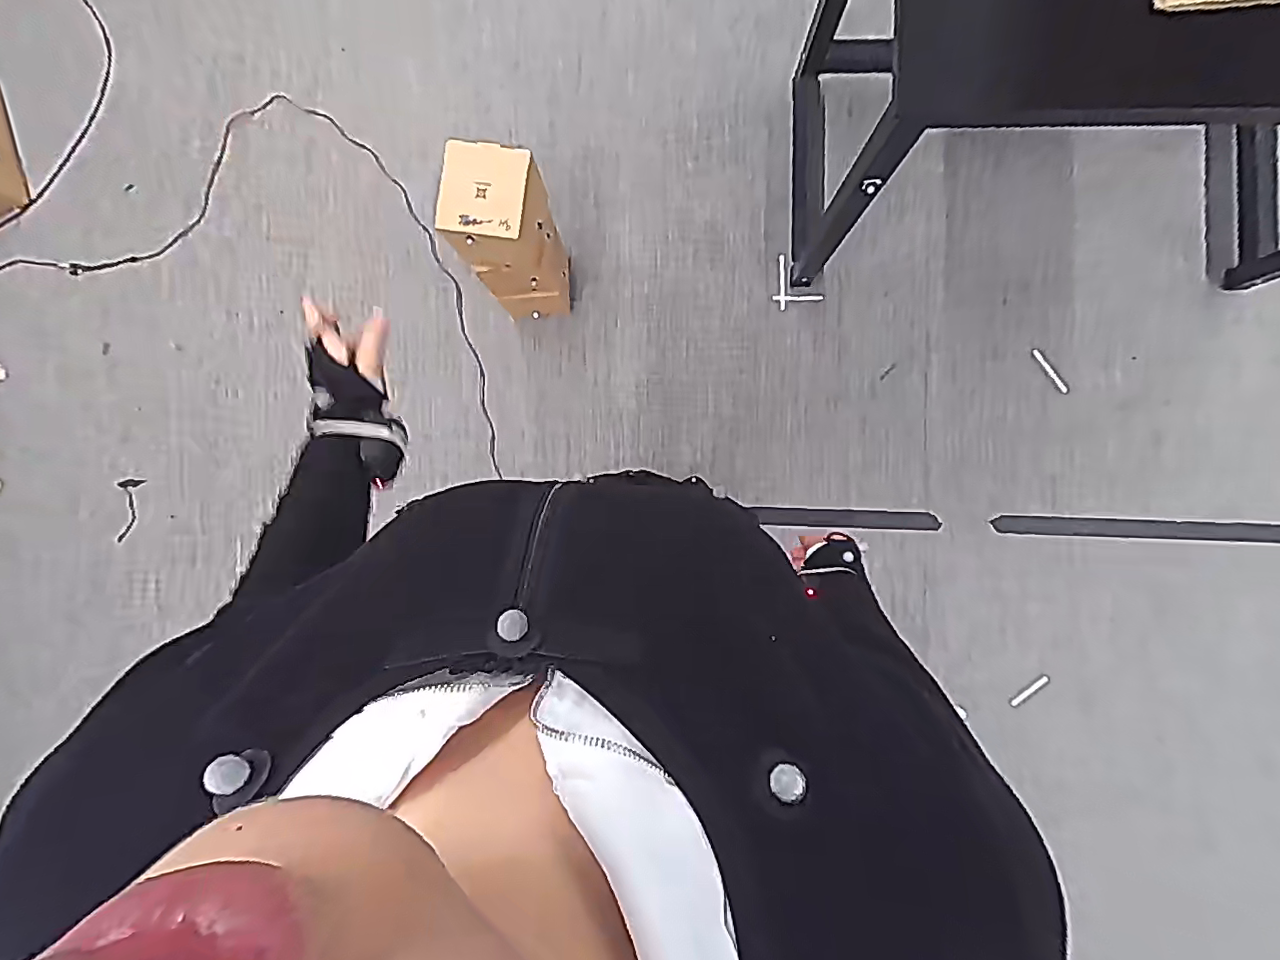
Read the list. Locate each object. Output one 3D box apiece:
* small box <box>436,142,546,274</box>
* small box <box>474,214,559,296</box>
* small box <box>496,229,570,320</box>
[{"bbox_3d":[-0.297,-0.553,1.117,0.168,0.176,0.179,8,89,2],"label":"small box"},{"bbox_3d":[-0.293,-0.551,1.281,0.168,0.176,0.179,-6,88,1],"label":"small box"},{"bbox_3d":[-0.283,-0.543,1.443,0.168,0.176,0.179,-3,90,3],"label":"small box"}]
